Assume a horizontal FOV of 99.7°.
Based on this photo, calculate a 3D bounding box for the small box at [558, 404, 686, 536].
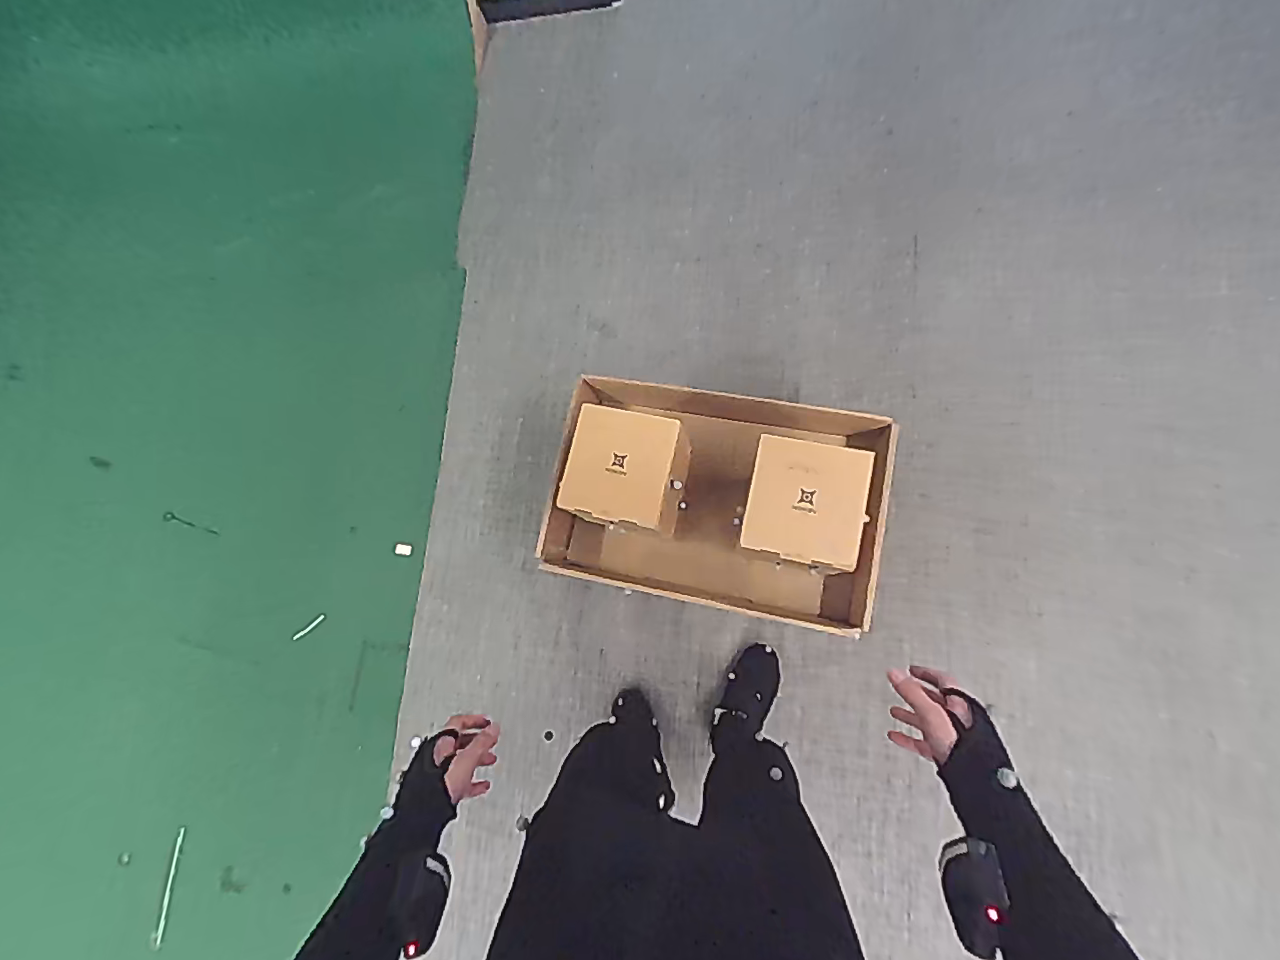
[{"bbox_3d":[-0.020,-0.010,0.924,0.168,0.176,0.179,12,82,12],"label":"small box"}]

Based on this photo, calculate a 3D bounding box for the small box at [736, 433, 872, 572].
[{"bbox_3d":[0.252,0.044,0.858,0.168,0.176,0.179,12,81,12],"label":"small box"}]

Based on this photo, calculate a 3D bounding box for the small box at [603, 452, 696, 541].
[{"bbox_3d":[0.006,0.022,1.083,0.179,0.176,0.168,13,83,12],"label":"small box"}]
